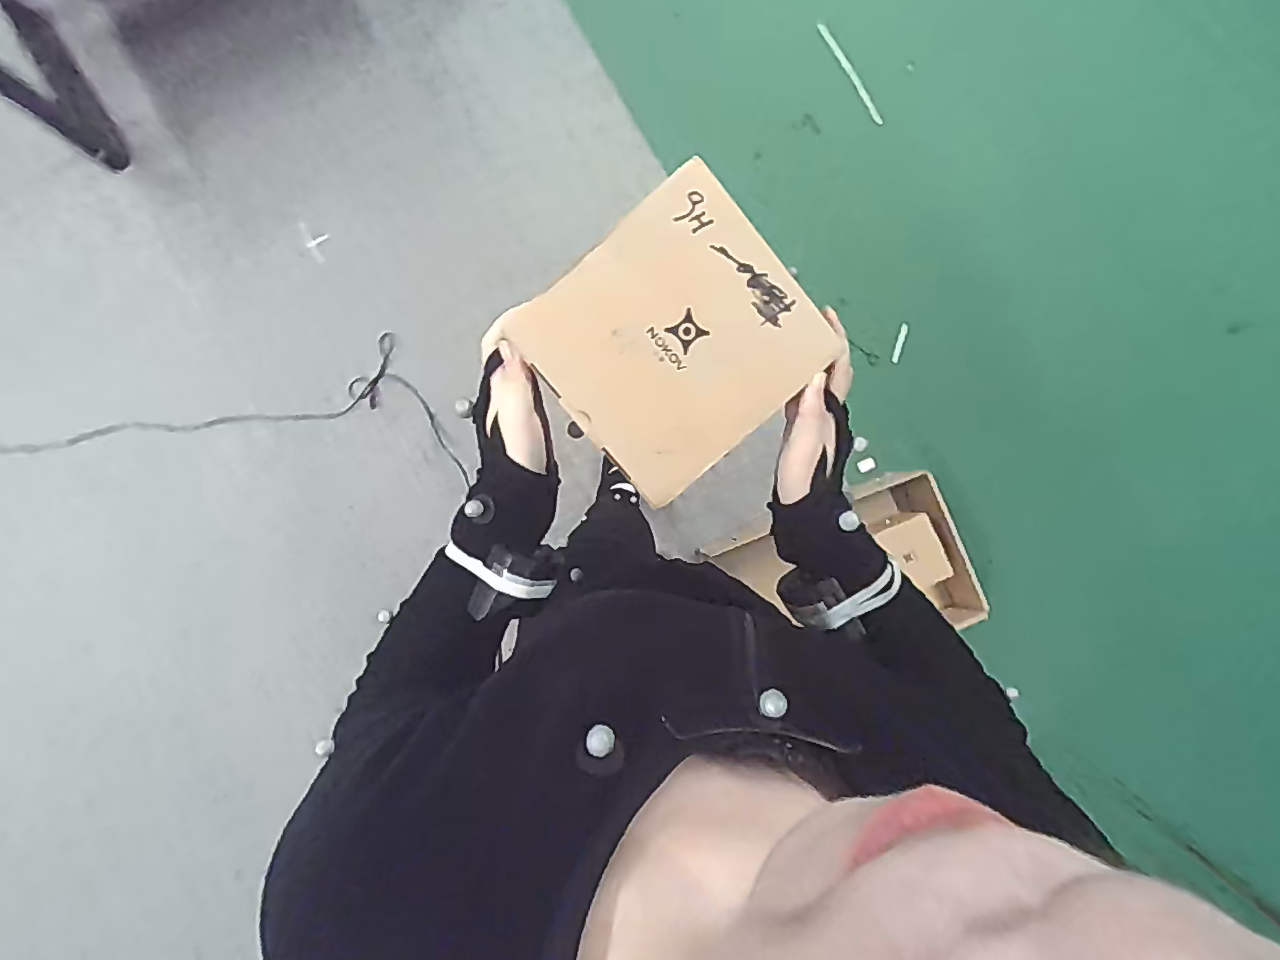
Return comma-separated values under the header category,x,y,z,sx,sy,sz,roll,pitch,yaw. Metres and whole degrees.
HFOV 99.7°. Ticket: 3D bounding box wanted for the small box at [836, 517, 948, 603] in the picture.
category,x,y,z,sx,sy,sz,roll,pitch,yaw
small box,0.642,0.200,1.398,0.179,0.176,0.168,-21,86,-4
